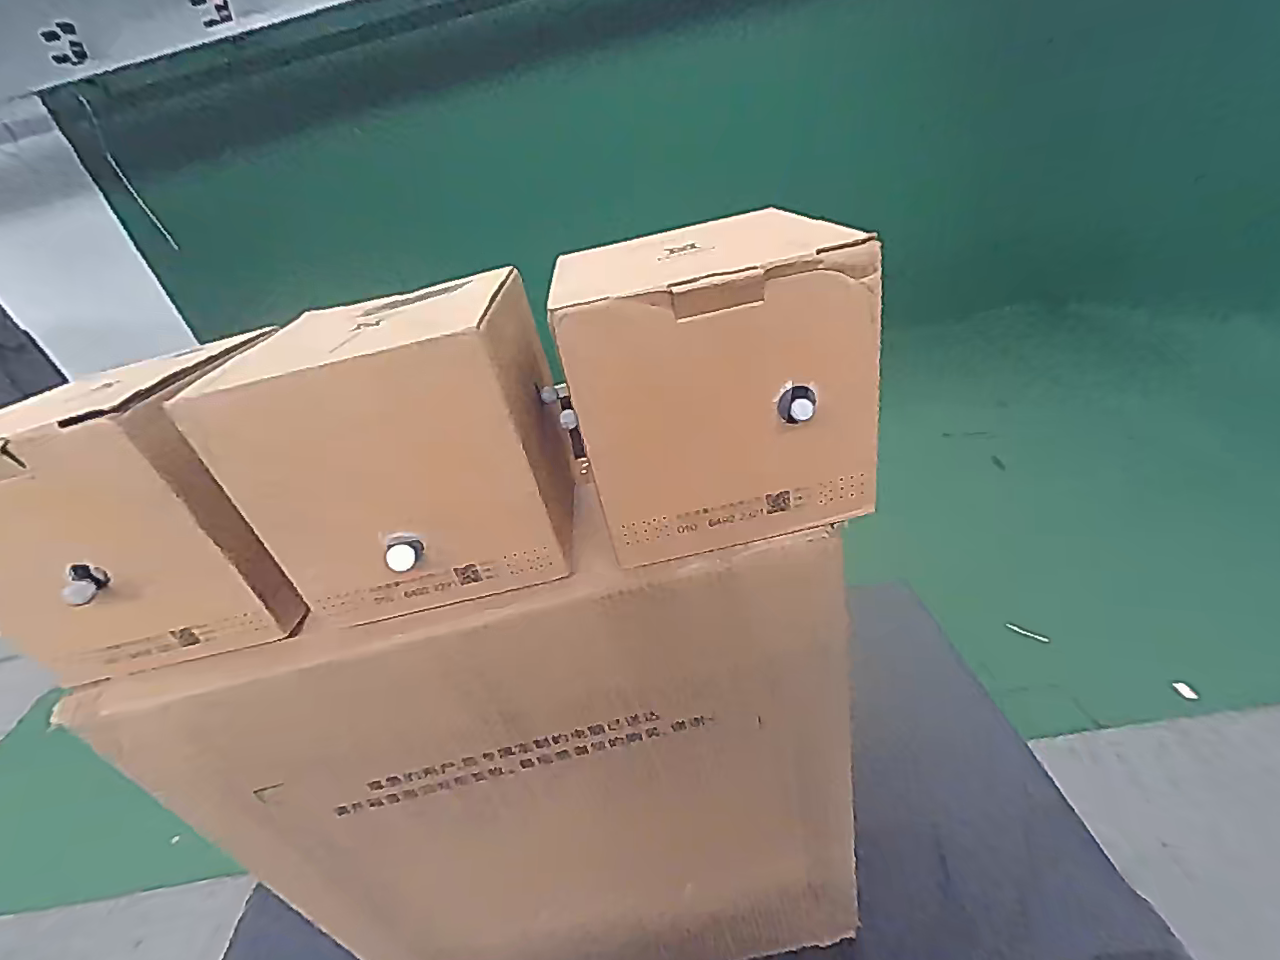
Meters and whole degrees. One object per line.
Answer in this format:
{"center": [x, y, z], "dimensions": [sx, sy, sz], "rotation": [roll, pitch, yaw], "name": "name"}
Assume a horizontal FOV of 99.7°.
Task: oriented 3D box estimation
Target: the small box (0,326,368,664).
{"center": [-0.333, 0.011, 0.394], "dimensions": [0.168, 0.176, 0.179], "rotation": [-13, 31, 2], "name": "small box"}

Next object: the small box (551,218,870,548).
{"center": [0.041, -0.068, 0.376], "dimensions": [0.168, 0.176, 0.179], "rotation": [-11, 30, -1], "name": "small box"}
